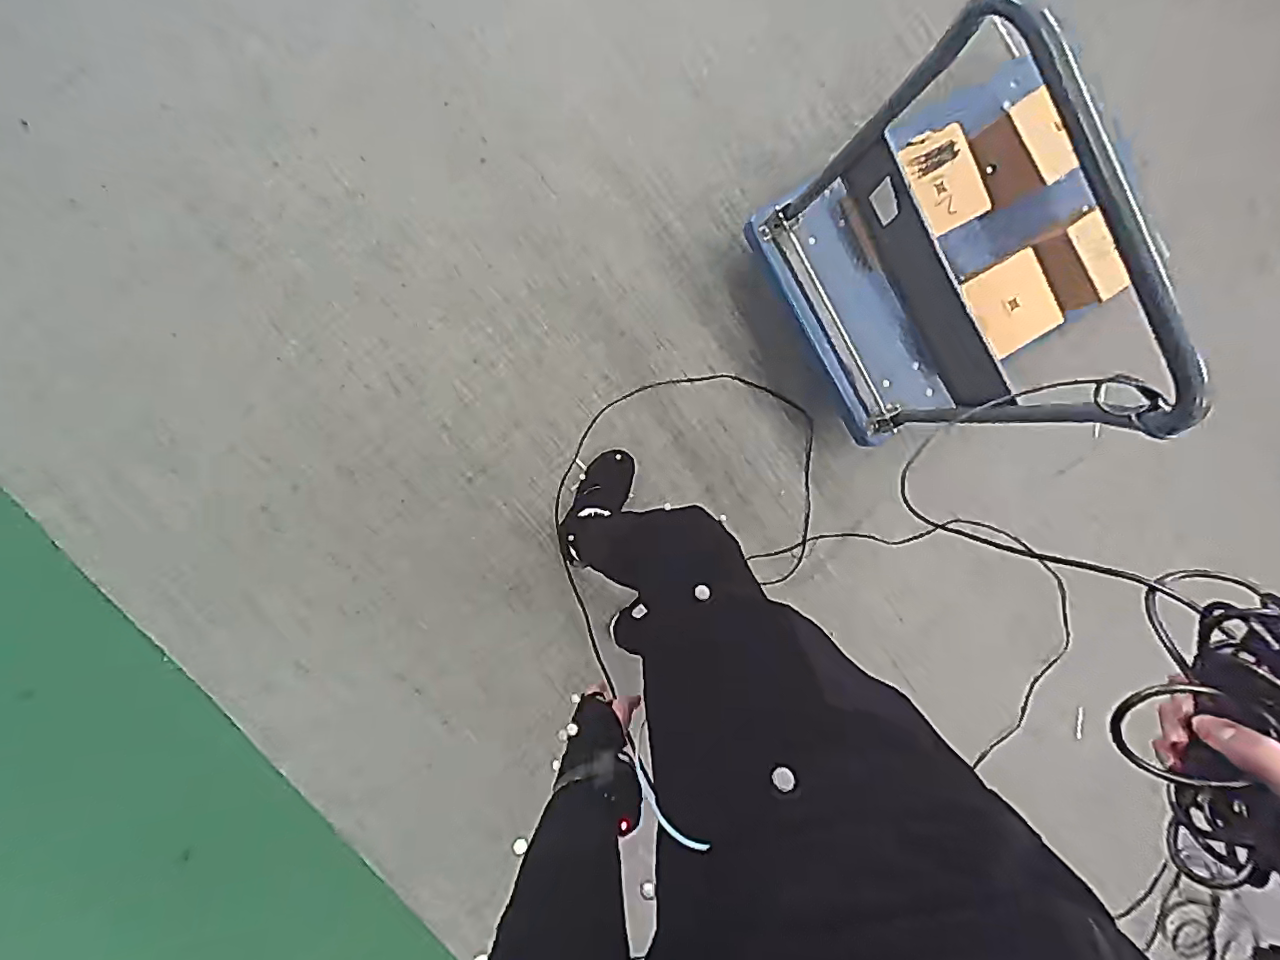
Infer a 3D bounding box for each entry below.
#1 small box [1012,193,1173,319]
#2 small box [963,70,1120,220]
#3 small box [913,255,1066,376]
[{"bbox_3d":[0.942,-0.458,1.144,0.179,0.176,0.168,-33,96,-3],"label":"small box"},{"bbox_3d":[0.808,-0.675,1.113,0.179,0.176,0.168,-34,98,-4],"label":"small box"},{"bbox_3d":[0.718,-0.333,1.127,0.179,0.176,0.168,-30,97,-4],"label":"small box"}]
